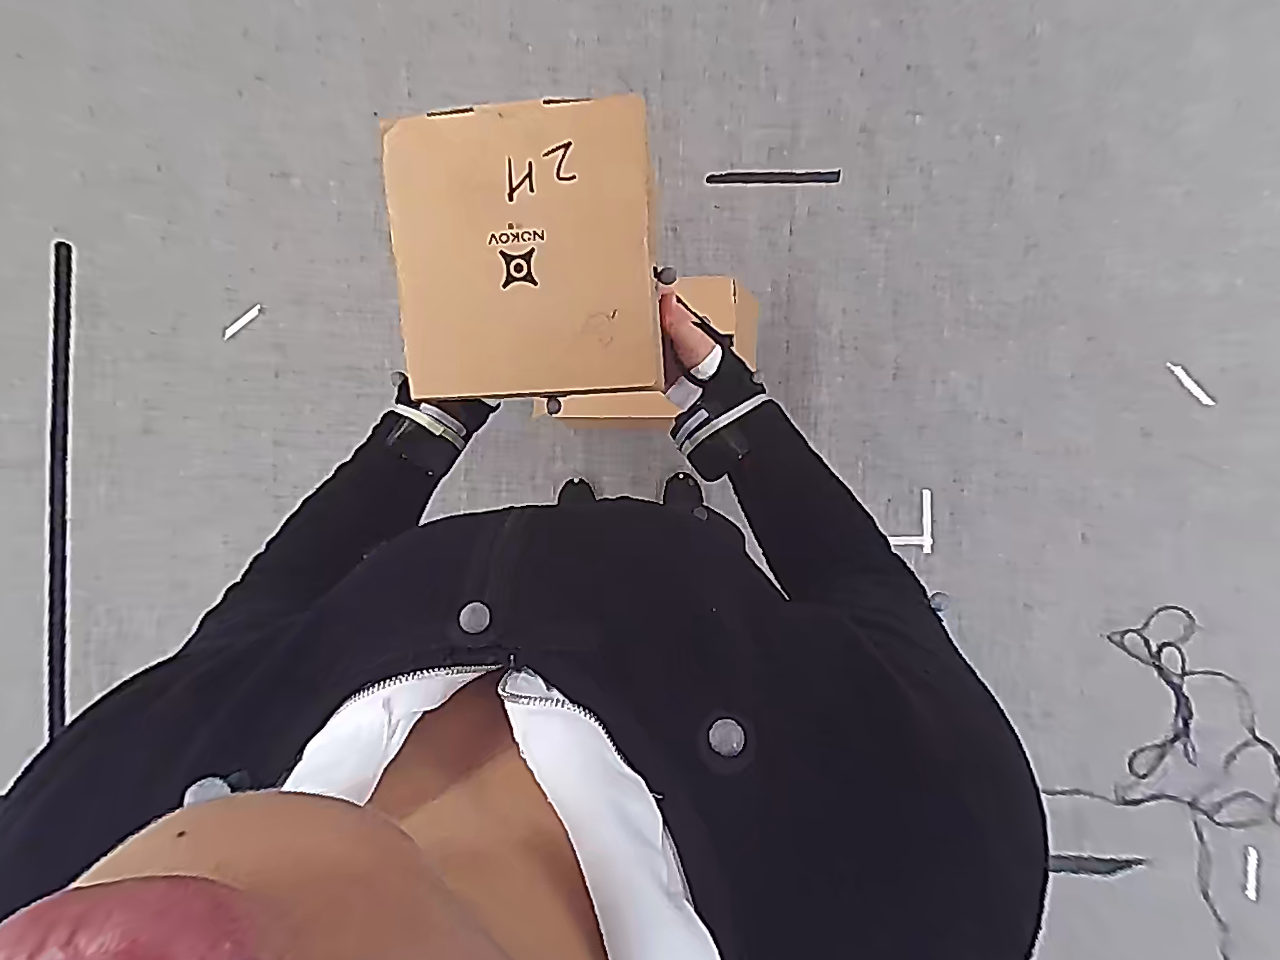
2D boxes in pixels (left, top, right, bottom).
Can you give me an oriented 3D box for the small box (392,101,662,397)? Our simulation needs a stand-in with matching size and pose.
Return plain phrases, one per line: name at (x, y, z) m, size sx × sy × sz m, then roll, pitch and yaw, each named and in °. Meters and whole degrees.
small box at (-0.068, -0.158, 0.429) m, size 0.168 × 0.176 × 0.179 m, roll -2°, pitch 99°, yaw 4°
